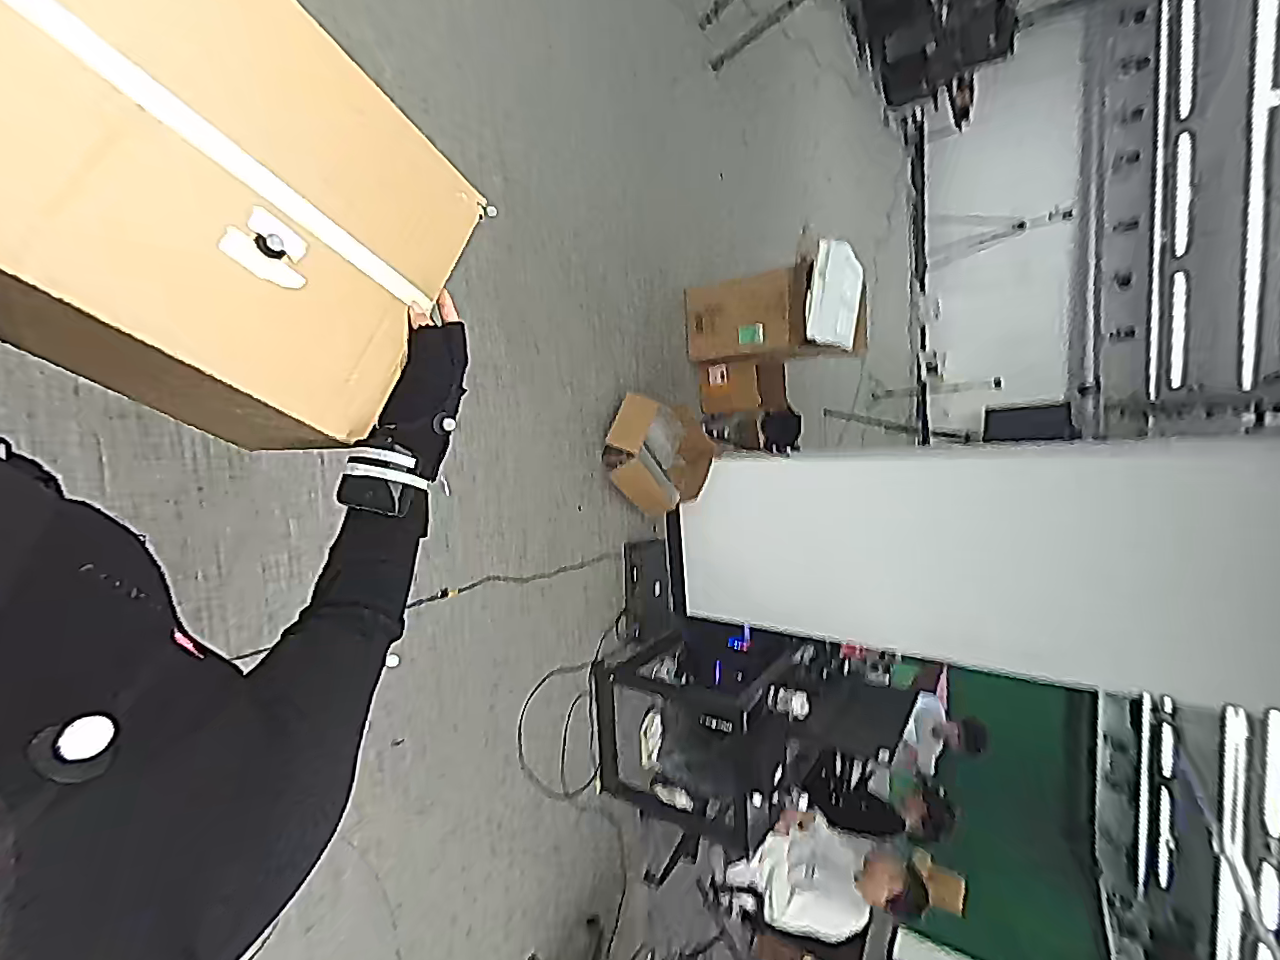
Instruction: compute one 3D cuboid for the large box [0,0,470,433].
[{"bbox_3d":[-0.457,-0.271,0.508,0.408,0.320,0.320,37,64,-46],"label":"large box"}]
